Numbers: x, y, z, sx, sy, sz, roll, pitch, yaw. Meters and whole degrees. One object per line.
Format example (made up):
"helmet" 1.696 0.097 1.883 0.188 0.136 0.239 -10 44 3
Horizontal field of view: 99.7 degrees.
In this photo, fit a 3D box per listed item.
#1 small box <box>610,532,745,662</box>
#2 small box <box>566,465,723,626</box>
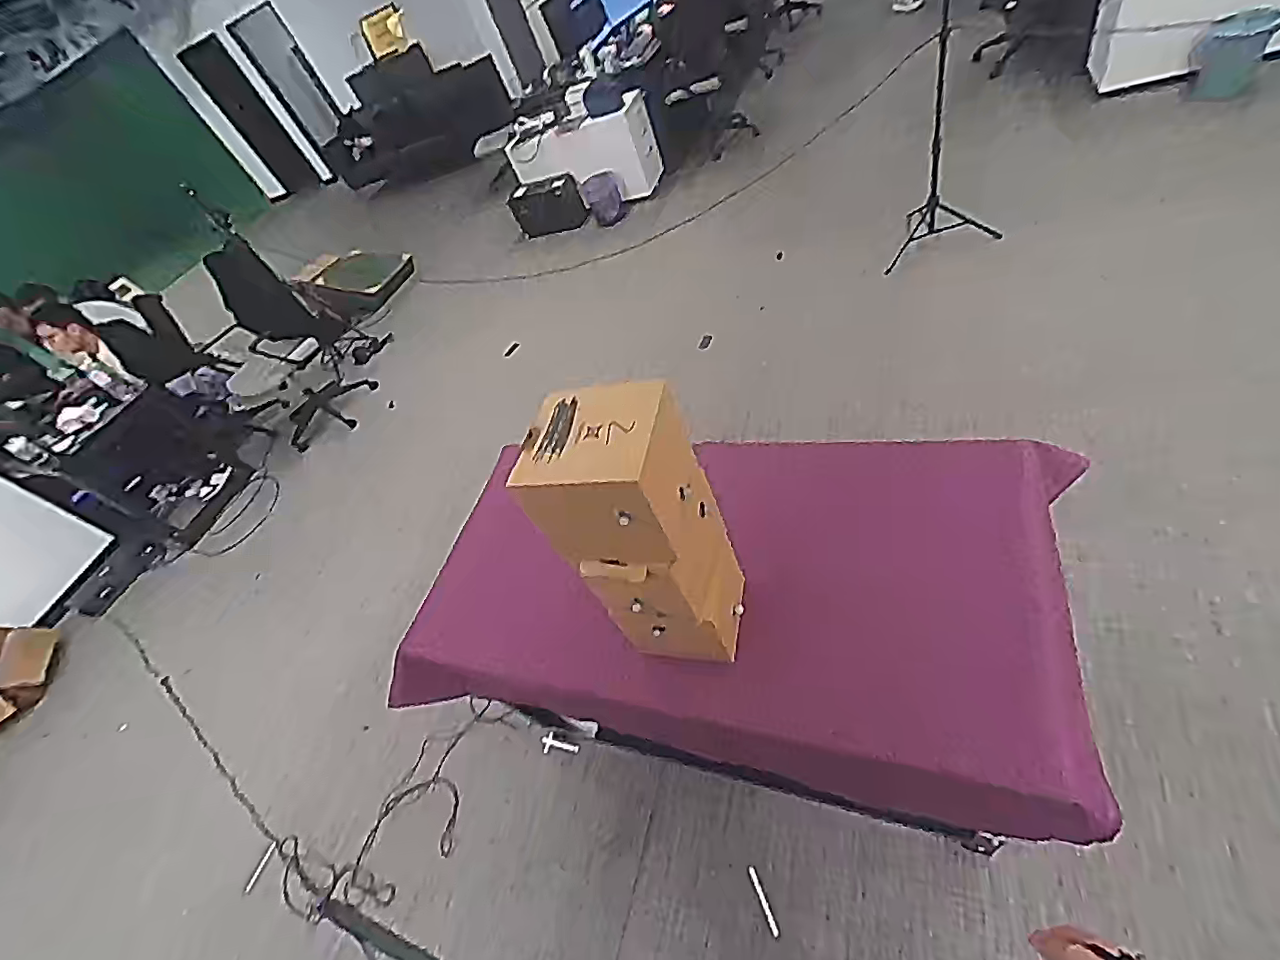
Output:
"small box" 0.073 0.203 0.939 0.179 0.176 0.168 -2 51 23
"small box" 0.019 0.098 0.825 0.168 0.176 0.179 2 53 28
